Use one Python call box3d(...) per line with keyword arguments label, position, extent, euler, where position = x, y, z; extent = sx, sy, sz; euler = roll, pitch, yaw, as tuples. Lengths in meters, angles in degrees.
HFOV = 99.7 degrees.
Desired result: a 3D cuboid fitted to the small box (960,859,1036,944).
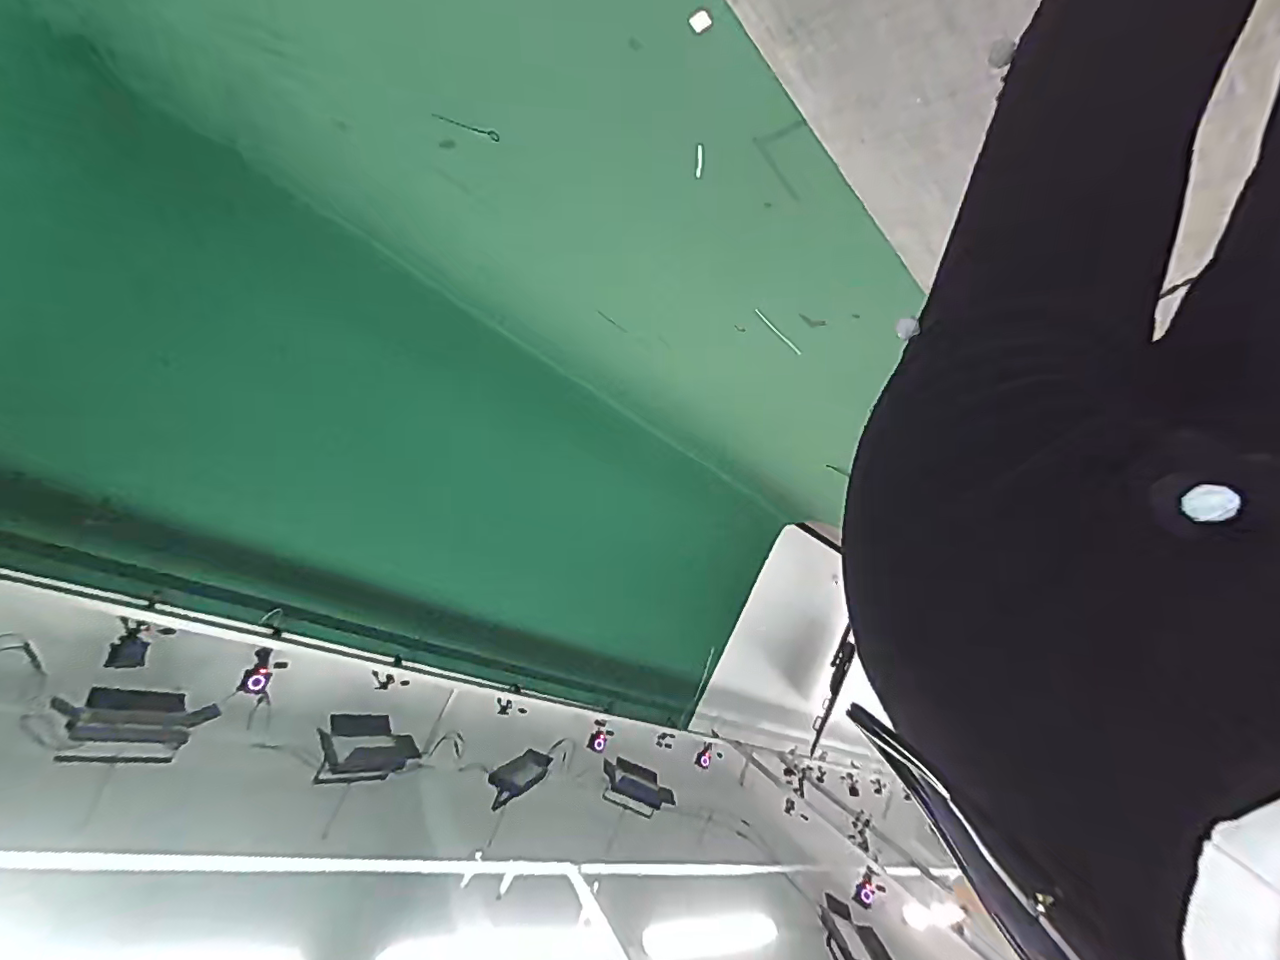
box3d(label="small box", position=(1.312, 1.531, 1.973), extent=(0.168, 0.176, 0.179), euler=(32, 172, -37))
